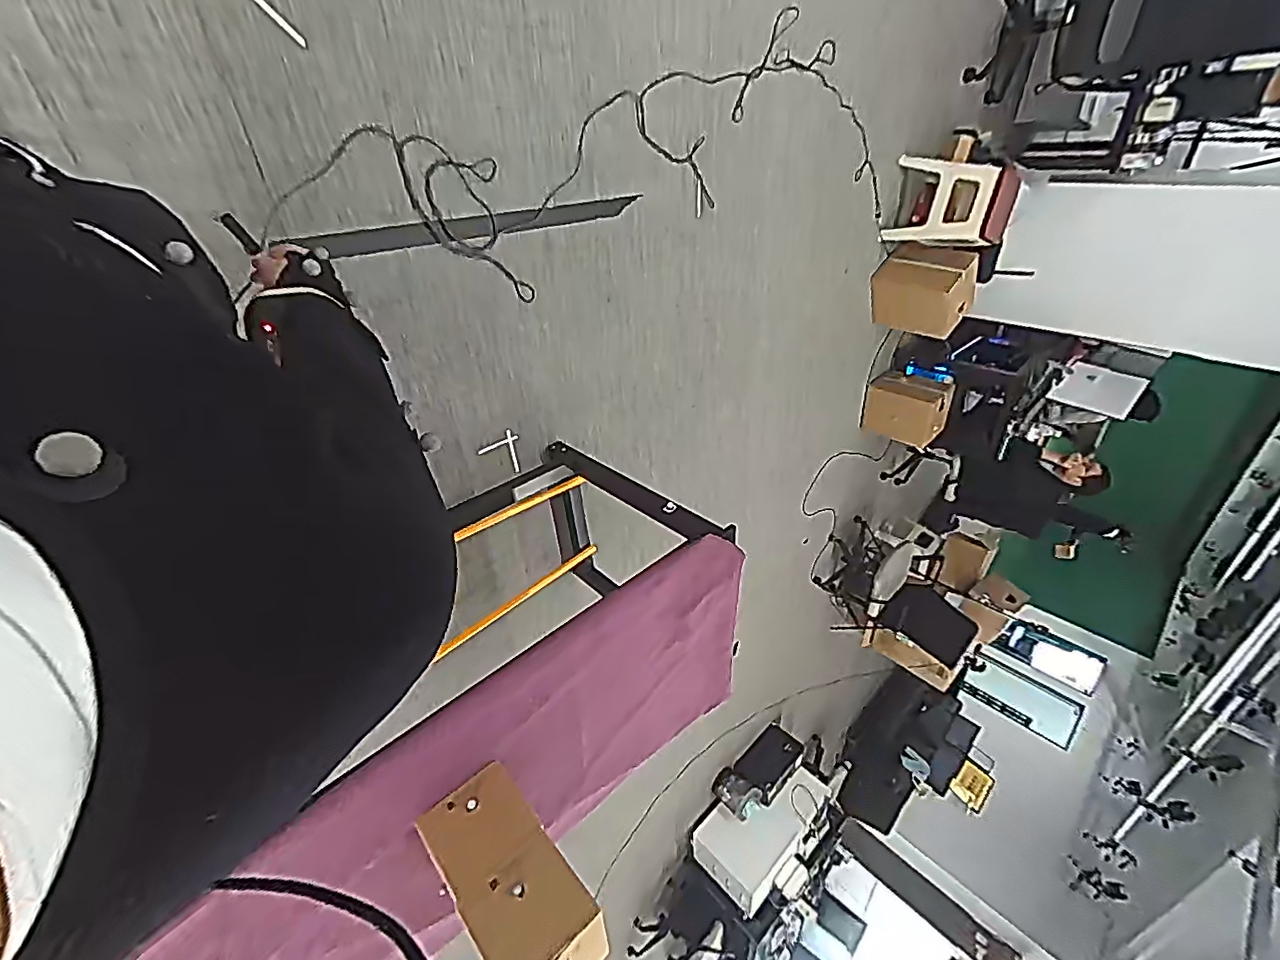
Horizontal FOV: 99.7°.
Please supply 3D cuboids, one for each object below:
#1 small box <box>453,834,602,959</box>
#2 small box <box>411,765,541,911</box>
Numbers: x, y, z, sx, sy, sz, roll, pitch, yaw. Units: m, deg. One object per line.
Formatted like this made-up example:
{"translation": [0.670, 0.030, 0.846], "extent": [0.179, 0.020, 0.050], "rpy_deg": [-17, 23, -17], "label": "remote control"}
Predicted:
{"translation": [-0.180, 0.730, 0.880], "extent": [0.168, 0.176, 0.179], "rpy_deg": [-28, 130, -36], "label": "small box"}
{"translation": [-0.290, 0.669, 0.987], "extent": [0.168, 0.176, 0.179], "rpy_deg": [-28, 129, -36], "label": "small box"}
